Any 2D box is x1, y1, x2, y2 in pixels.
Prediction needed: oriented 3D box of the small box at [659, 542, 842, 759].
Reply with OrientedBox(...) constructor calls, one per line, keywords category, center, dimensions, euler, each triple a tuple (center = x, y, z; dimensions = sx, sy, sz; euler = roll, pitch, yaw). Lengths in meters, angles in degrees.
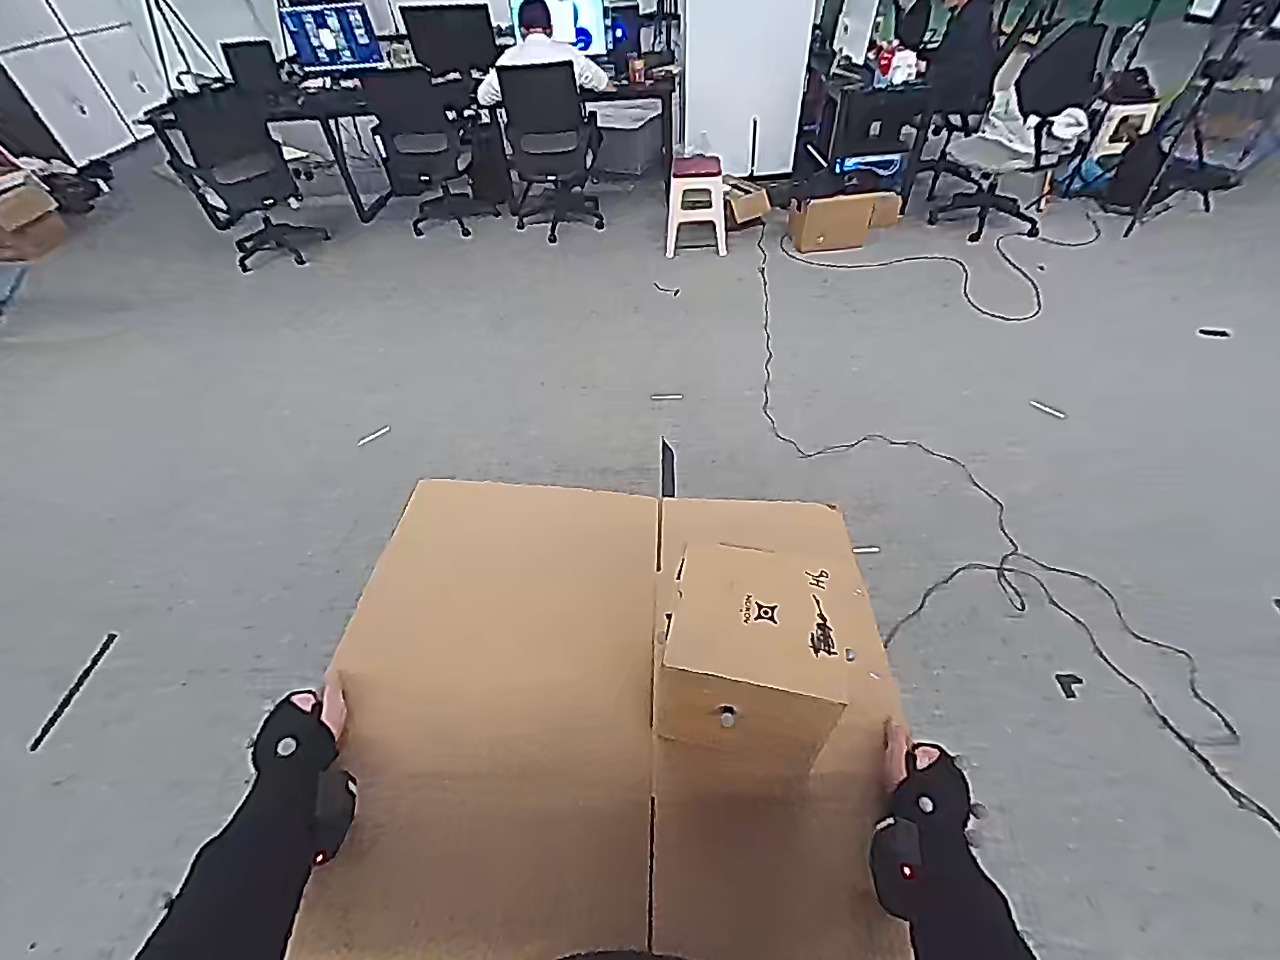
OrientedBox(category="small box", center=(0.122, 0.196, 0.623), dimensions=(0.179, 0.176, 0.168), euler=(8, 44, 10))
